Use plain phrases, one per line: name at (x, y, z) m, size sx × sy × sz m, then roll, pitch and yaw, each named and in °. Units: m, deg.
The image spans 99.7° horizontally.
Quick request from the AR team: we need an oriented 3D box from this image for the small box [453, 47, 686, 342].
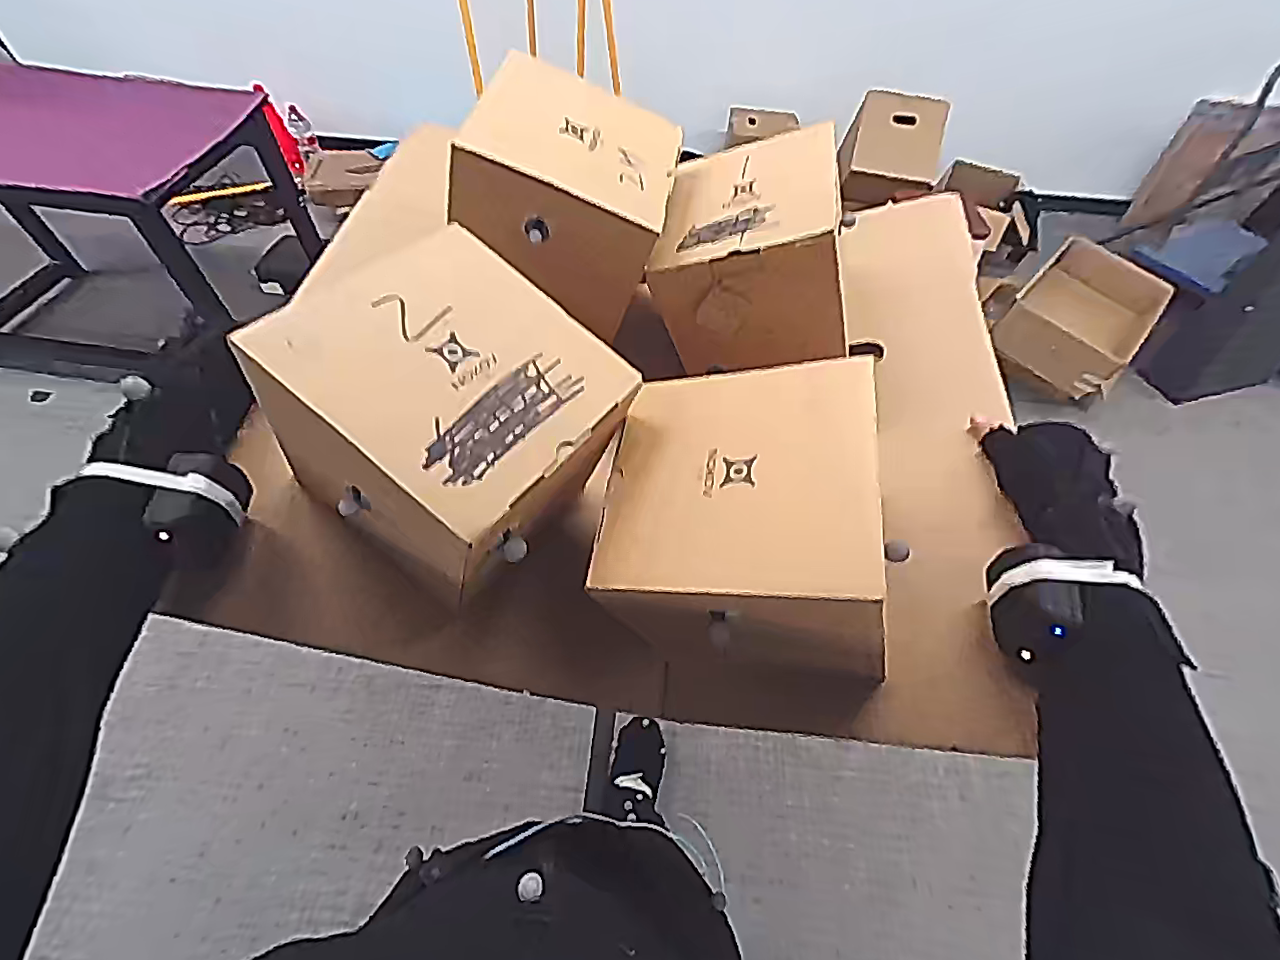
small box at (-0.075, -0.268, 0.539) m, size 0.179 × 0.176 × 0.168 m, roll 19°, pitch 59°, yaw -12°
